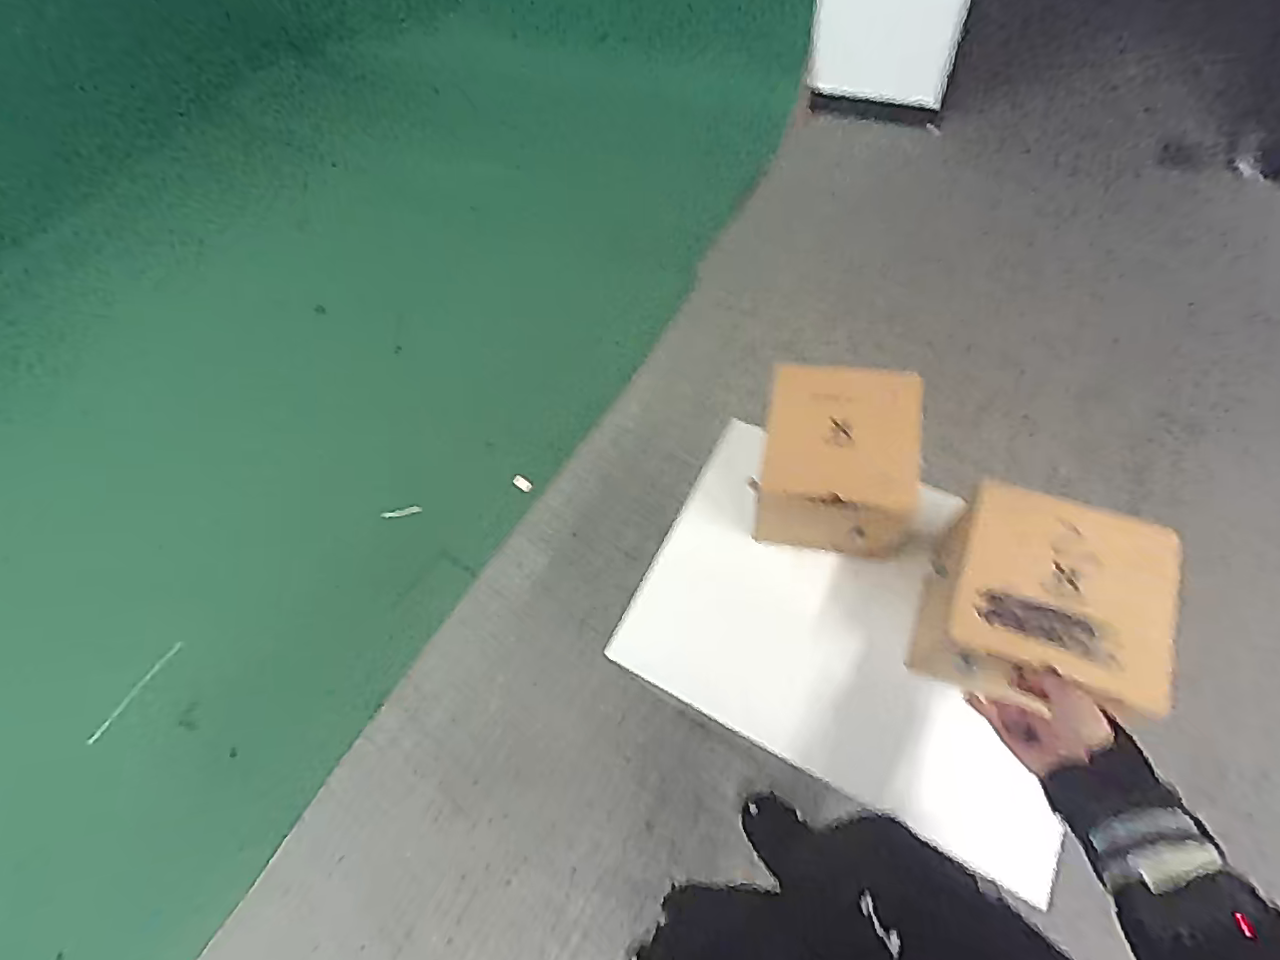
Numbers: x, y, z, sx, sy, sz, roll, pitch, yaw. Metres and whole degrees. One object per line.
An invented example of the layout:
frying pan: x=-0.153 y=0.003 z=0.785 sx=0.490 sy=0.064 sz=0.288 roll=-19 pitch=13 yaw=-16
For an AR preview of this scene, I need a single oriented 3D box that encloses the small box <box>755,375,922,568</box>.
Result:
small box: x=0.238 y=-0.004 z=0.673 sx=0.168 sy=0.176 sz=0.179 roll=8 pitch=64 yaw=14
